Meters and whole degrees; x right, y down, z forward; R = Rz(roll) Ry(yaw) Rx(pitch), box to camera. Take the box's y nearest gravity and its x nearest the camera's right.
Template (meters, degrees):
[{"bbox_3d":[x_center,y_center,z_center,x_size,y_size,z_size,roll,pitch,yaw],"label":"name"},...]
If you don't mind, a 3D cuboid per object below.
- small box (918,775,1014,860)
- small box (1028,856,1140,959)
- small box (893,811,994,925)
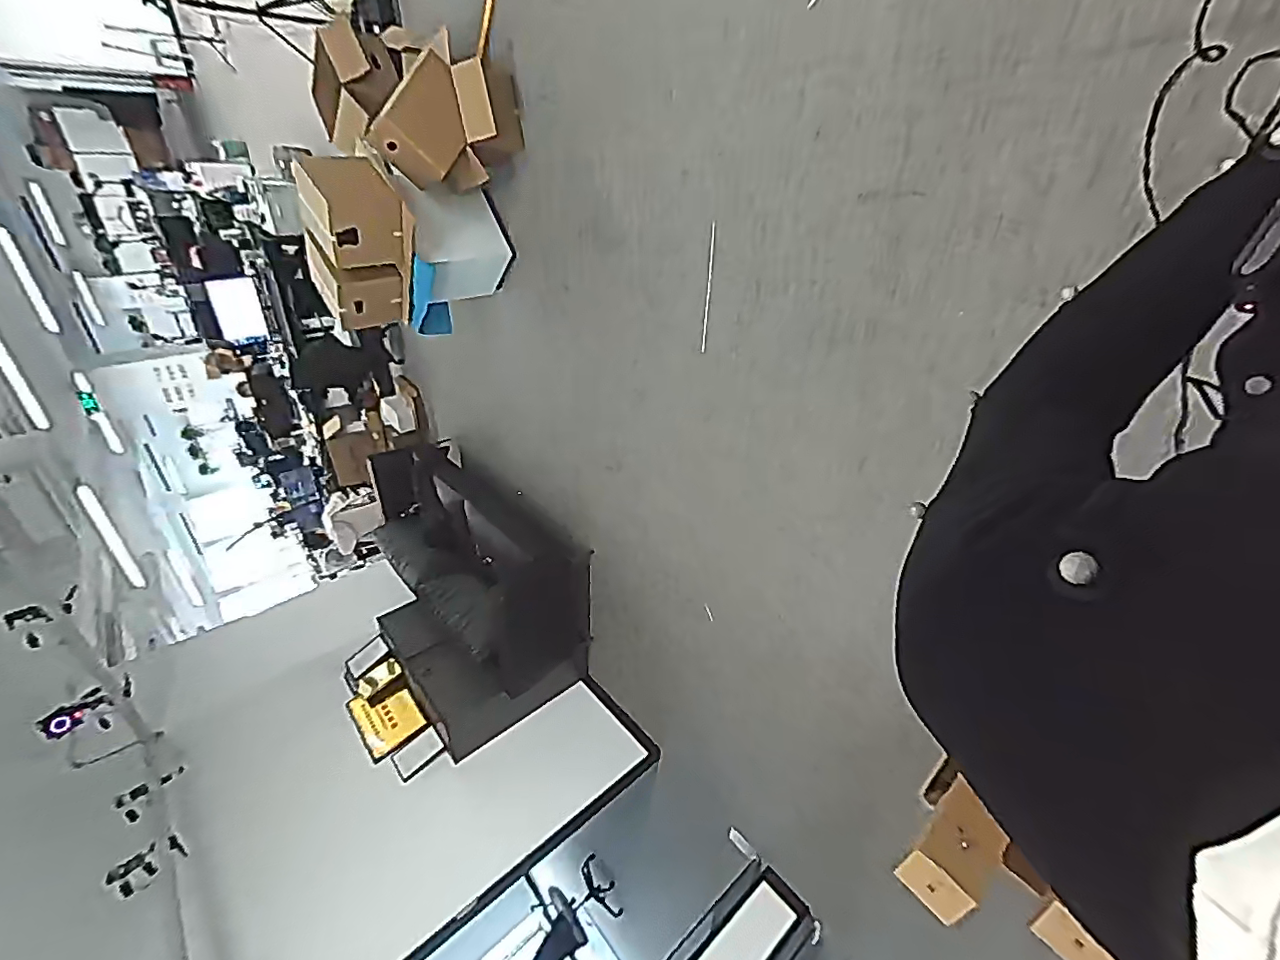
[{"bbox_3d":[0.982,1.039,1.625,0.168,0.176,0.179,37,134,35],"label":"small box"},{"bbox_3d":[1.181,1.161,1.436,0.168,0.176,0.179,30,131,39],"label":"small box"},{"bbox_3d":[0.858,1.089,1.527,0.168,0.176,0.179,37,133,34],"label":"small box"}]
